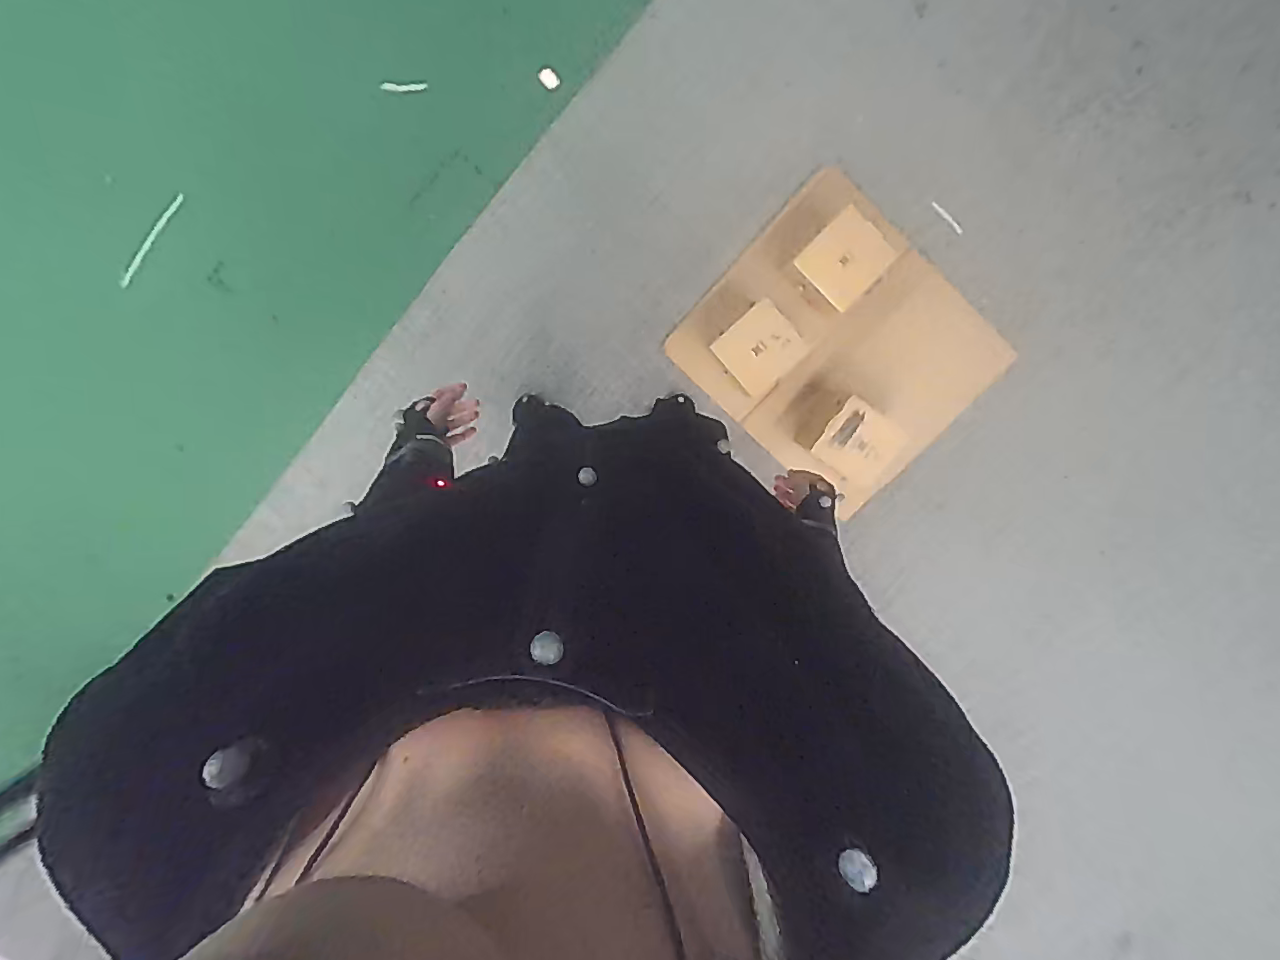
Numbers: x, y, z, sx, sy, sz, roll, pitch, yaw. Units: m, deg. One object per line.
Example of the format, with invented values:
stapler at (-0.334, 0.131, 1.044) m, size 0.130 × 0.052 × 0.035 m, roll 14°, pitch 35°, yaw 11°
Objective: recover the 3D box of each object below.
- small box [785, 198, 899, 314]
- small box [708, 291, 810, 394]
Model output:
small box at (0.464, -0.516, 1.279) m, size 0.168 × 0.176 × 0.179 m, roll 44°, pitch 100°, yaw -6°
small box at (0.281, -0.329, 1.325) m, size 0.179 × 0.176 × 0.168 m, roll -40°, pitch 97°, yaw 10°
